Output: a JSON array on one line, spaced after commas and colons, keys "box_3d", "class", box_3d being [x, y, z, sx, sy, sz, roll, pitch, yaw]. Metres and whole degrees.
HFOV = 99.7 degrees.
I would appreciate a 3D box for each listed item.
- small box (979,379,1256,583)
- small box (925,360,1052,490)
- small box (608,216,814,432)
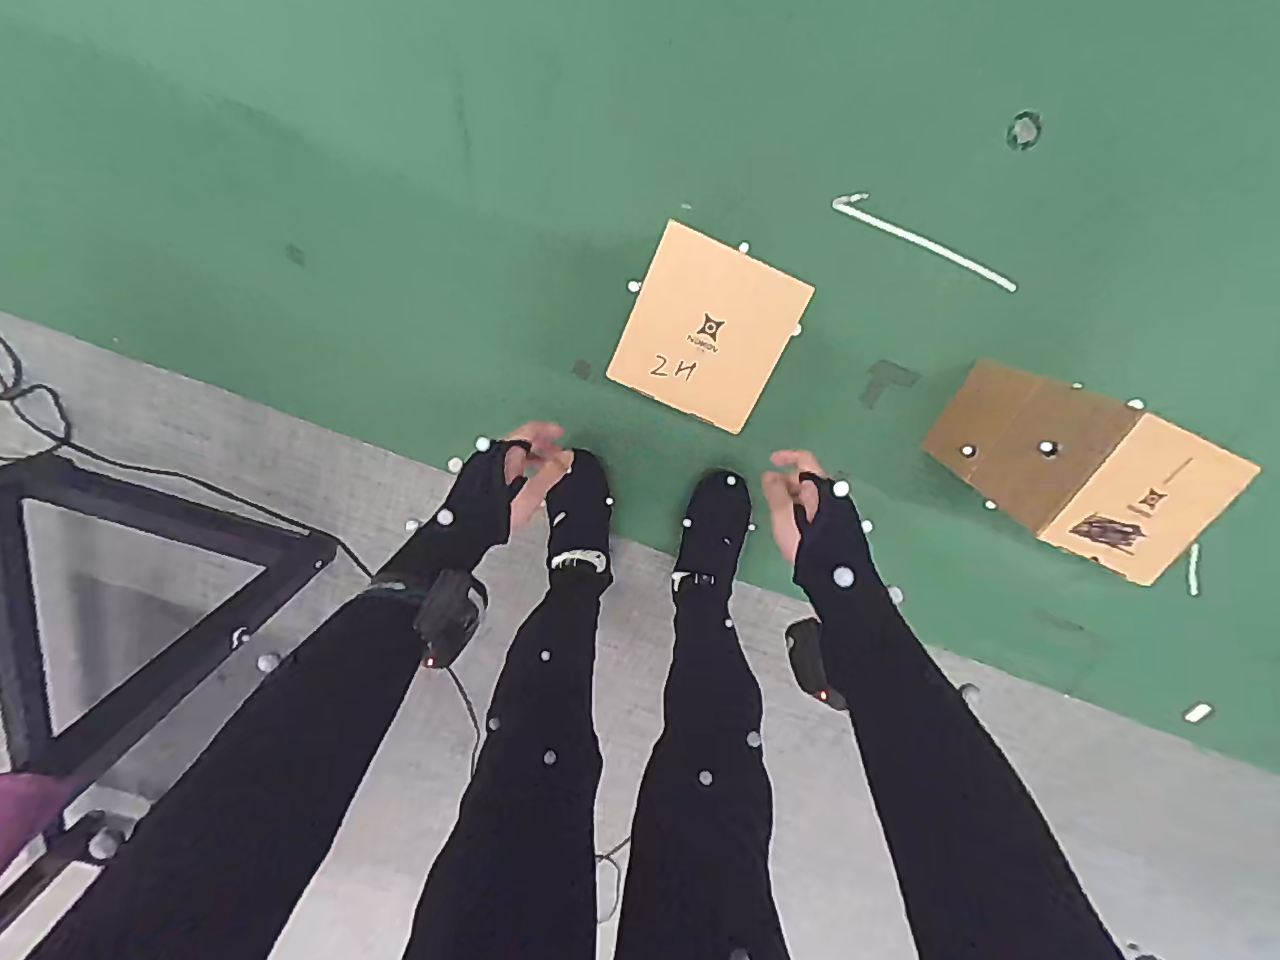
[{"box_3d": [0.581, -0.006, 0.696, 0.168, 0.176, 0.179, 23, 112, -8], "class": "small box"}, {"box_3d": [0.589, -0.070, 0.847, 0.168, 0.176, 0.179, 22, 113, -7], "class": "small box"}, {"box_3d": [0.074, -0.187, 0.645, 0.168, 0.176, 0.179, 23, 112, -6], "class": "small box"}]
